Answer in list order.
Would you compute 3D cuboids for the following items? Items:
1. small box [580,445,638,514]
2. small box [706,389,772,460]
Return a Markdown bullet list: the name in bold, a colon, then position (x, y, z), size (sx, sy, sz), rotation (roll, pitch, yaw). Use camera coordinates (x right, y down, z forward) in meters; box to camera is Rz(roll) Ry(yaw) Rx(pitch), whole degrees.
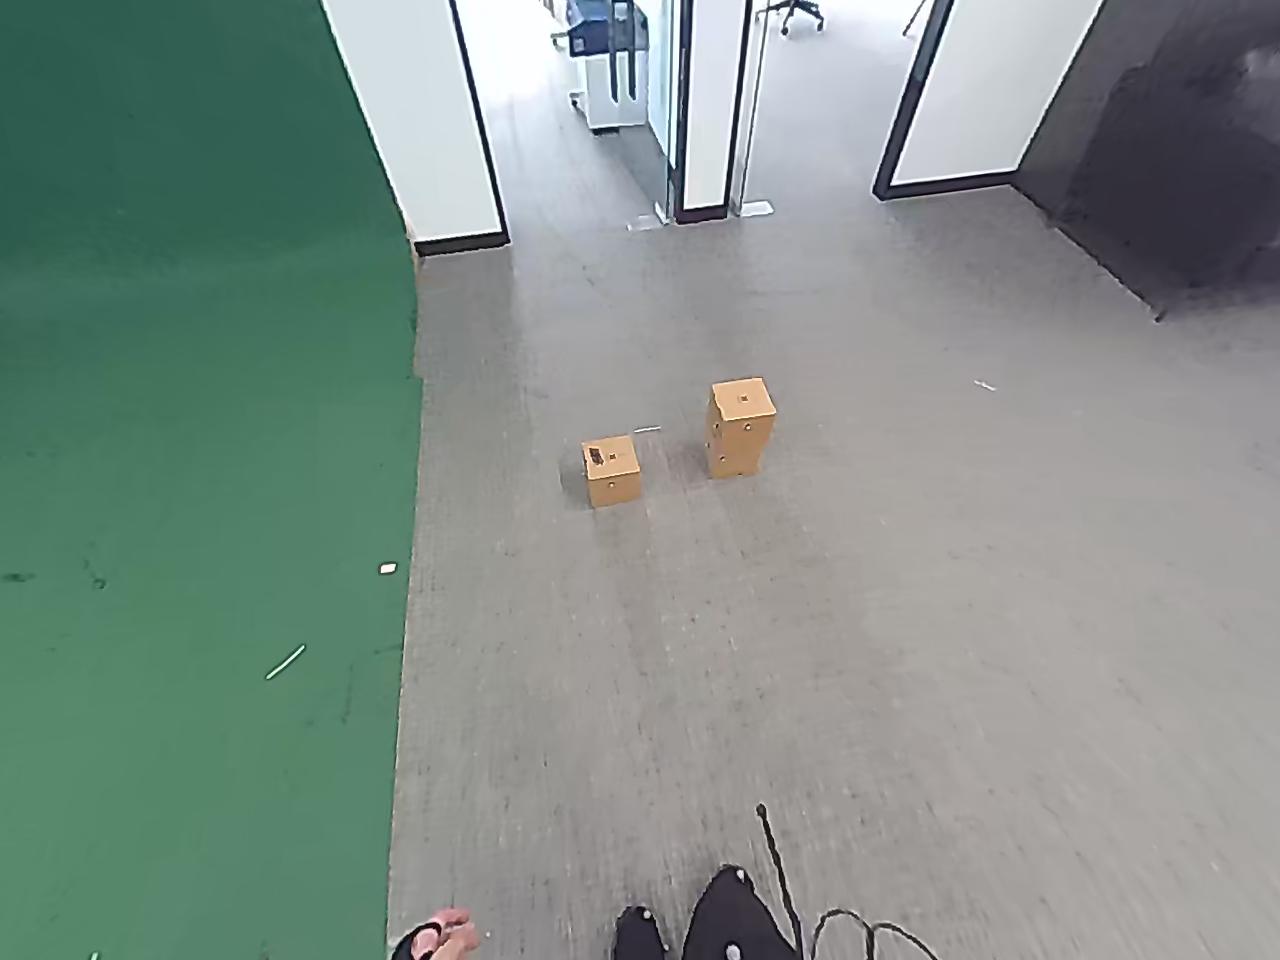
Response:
- **small box**: position (-0.107, 0.001, 1.897), size (0.179, 0.176, 0.168), rotation (-9, 54, -8)
- **small box**: position (0.326, -0.183, 1.826), size (0.179, 0.176, 0.168), rotation (-8, 54, -6)
